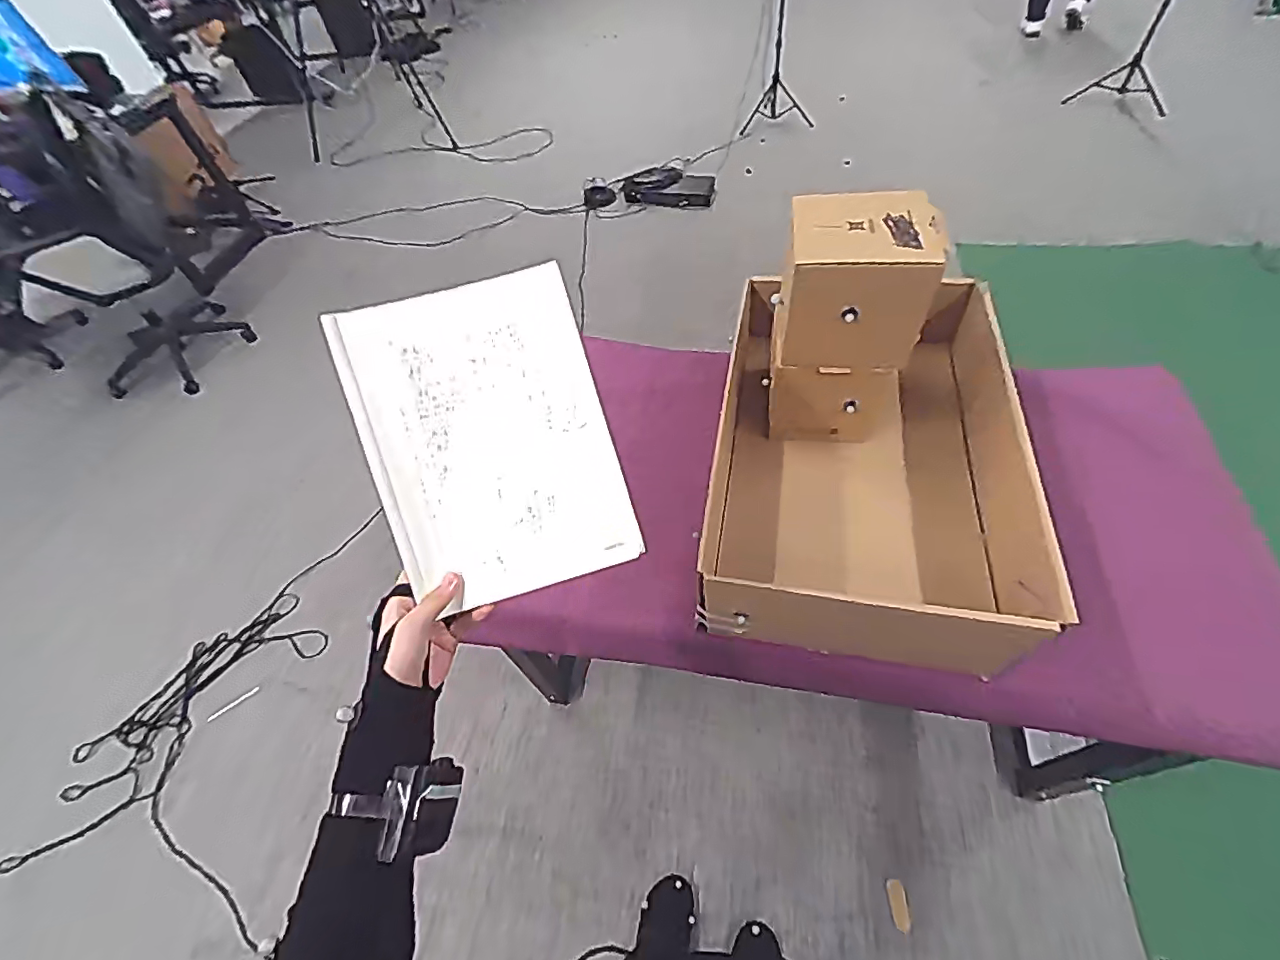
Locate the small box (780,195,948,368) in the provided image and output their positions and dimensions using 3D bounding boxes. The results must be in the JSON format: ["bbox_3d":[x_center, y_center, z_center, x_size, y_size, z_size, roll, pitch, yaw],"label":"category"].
[{"bbox_3d":[0.296,-0.272,0.755,0.179,0.176,0.168,4,54,10],"label":"small box"}]
